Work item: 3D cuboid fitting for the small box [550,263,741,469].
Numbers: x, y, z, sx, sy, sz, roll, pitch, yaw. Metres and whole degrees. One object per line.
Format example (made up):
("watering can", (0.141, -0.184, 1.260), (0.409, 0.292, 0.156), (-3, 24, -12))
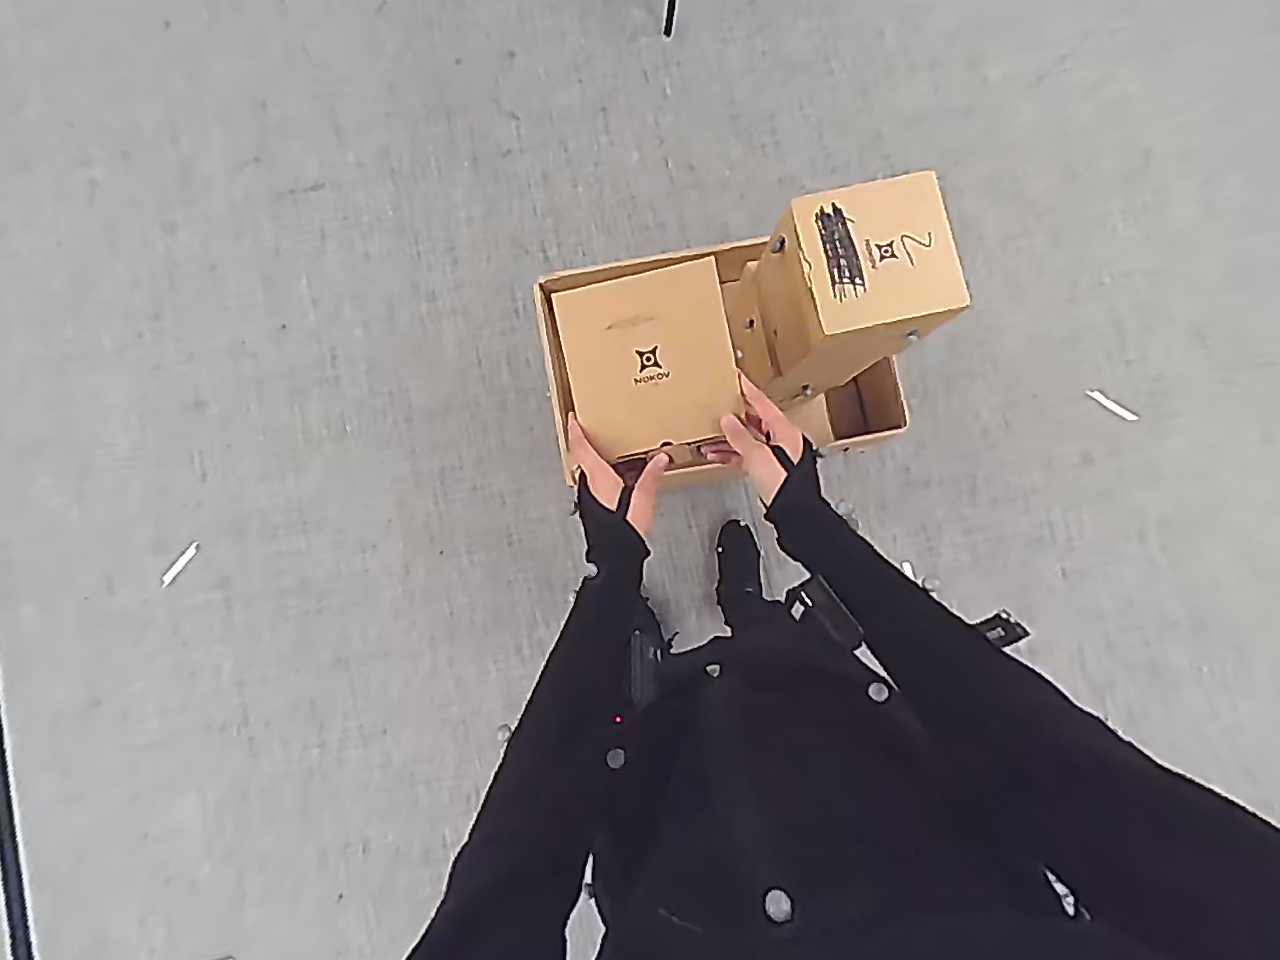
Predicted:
("small box", (0.011, -0.116, 0.609), (0.168, 0.176, 0.179), (-11, 93, 4))
